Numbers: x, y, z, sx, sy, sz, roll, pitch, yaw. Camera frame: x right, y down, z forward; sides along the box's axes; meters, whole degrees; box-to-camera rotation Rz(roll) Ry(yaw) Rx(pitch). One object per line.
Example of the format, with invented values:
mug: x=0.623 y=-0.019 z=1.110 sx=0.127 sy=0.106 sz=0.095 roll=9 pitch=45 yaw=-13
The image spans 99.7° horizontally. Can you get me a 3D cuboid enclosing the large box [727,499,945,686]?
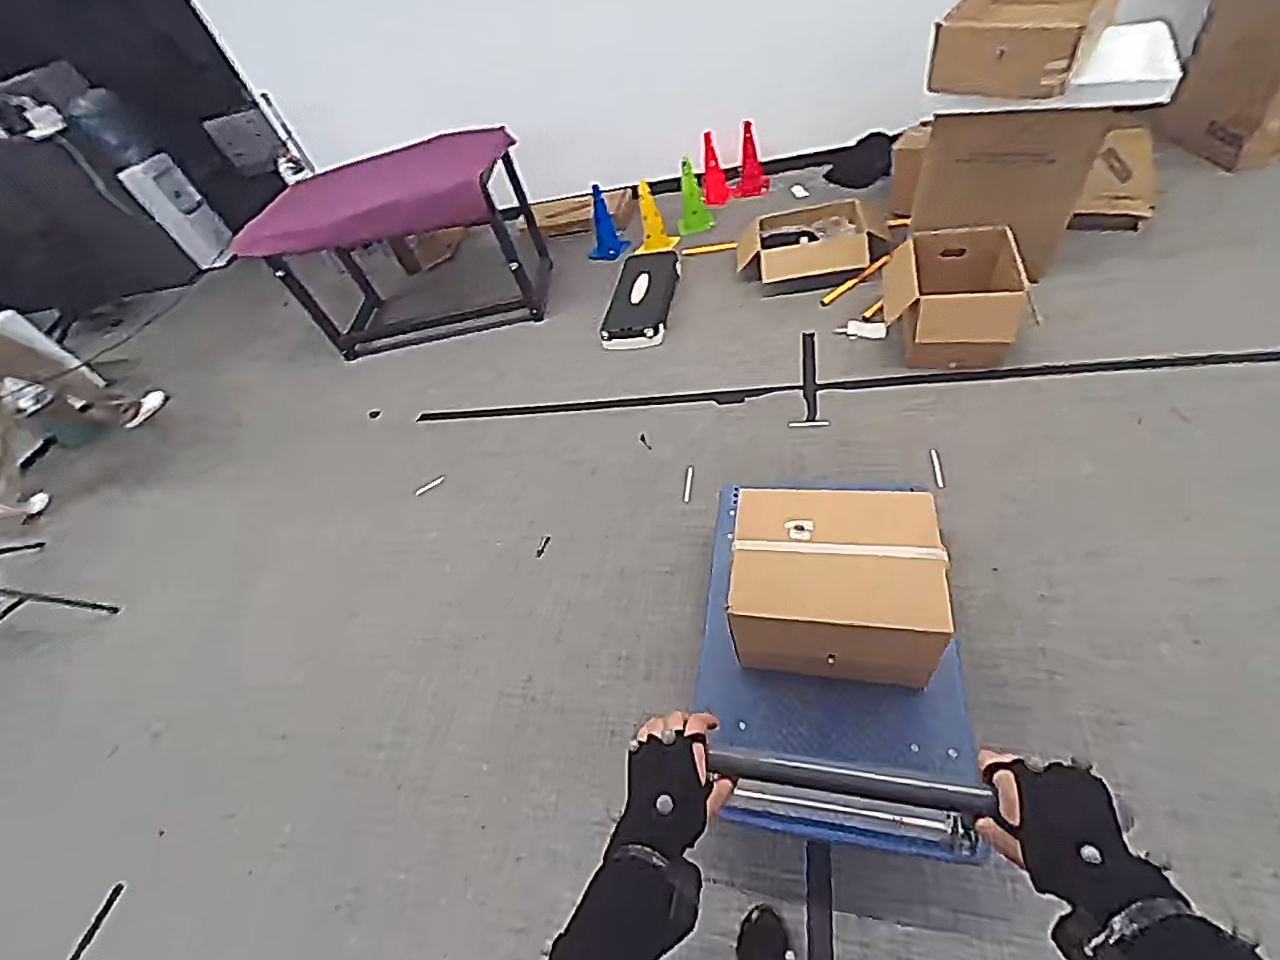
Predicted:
large box: x=0.429 y=0.255 z=1.236 sx=0.408 sy=0.320 sz=0.320 roll=0 pitch=51 yaw=18
